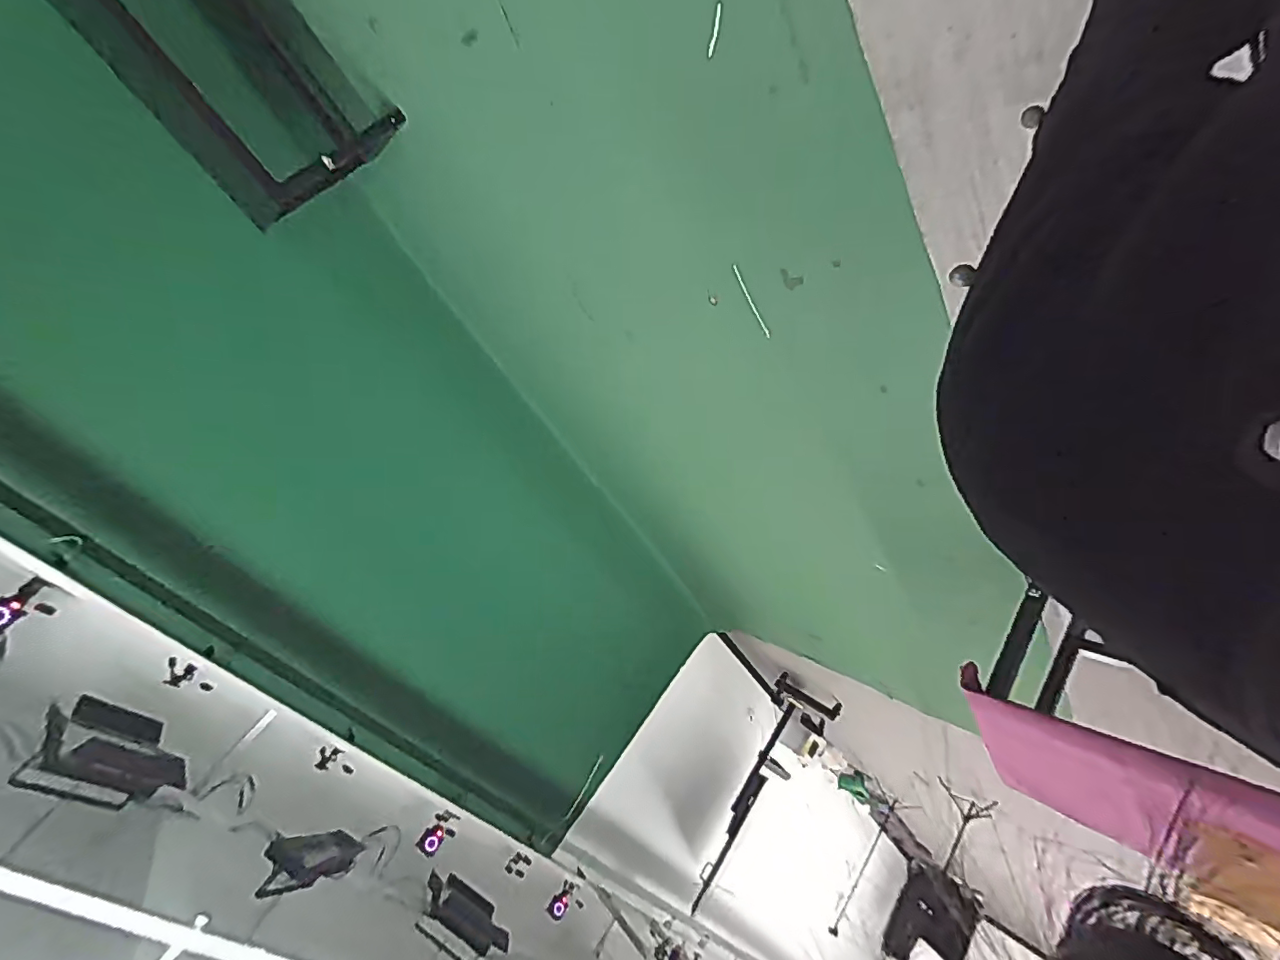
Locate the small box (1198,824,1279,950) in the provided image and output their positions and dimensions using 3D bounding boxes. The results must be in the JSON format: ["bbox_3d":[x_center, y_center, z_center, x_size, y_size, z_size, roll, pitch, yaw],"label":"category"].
[{"bbox_3d":[1.451,0.960,1.271,0.168,0.176,0.179,11,145,51],"label":"small box"}]
